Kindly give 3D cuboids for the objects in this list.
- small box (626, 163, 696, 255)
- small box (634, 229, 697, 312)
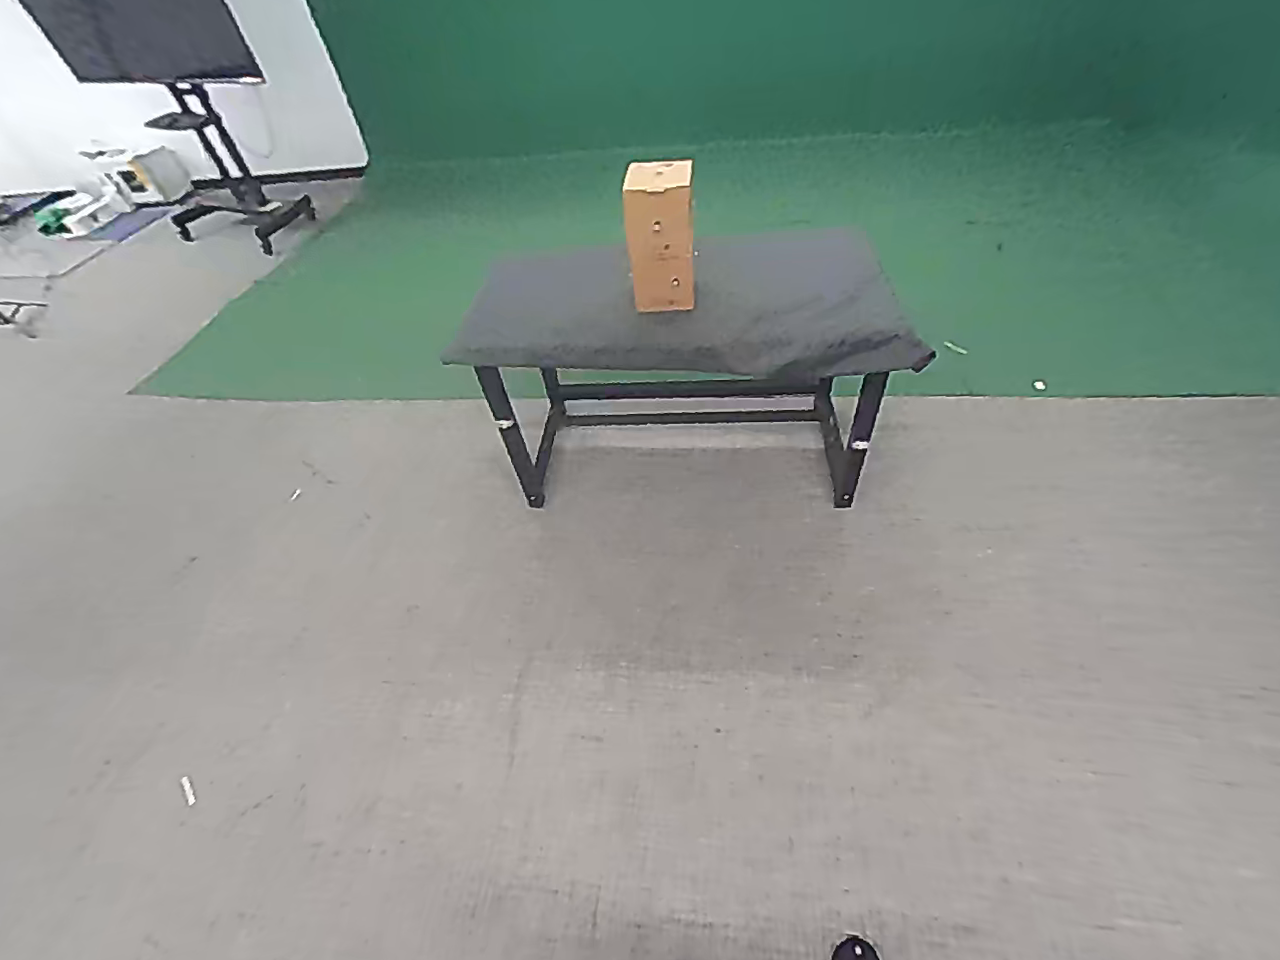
[{"bbox_3d":[0.061,-0.707,1.424,0.168,0.176,0.179,2,50,7],"label":"small box"},{"bbox_3d":[0.078,-0.595,1.542,0.168,0.176,0.179,1,47,6],"label":"small box"}]
